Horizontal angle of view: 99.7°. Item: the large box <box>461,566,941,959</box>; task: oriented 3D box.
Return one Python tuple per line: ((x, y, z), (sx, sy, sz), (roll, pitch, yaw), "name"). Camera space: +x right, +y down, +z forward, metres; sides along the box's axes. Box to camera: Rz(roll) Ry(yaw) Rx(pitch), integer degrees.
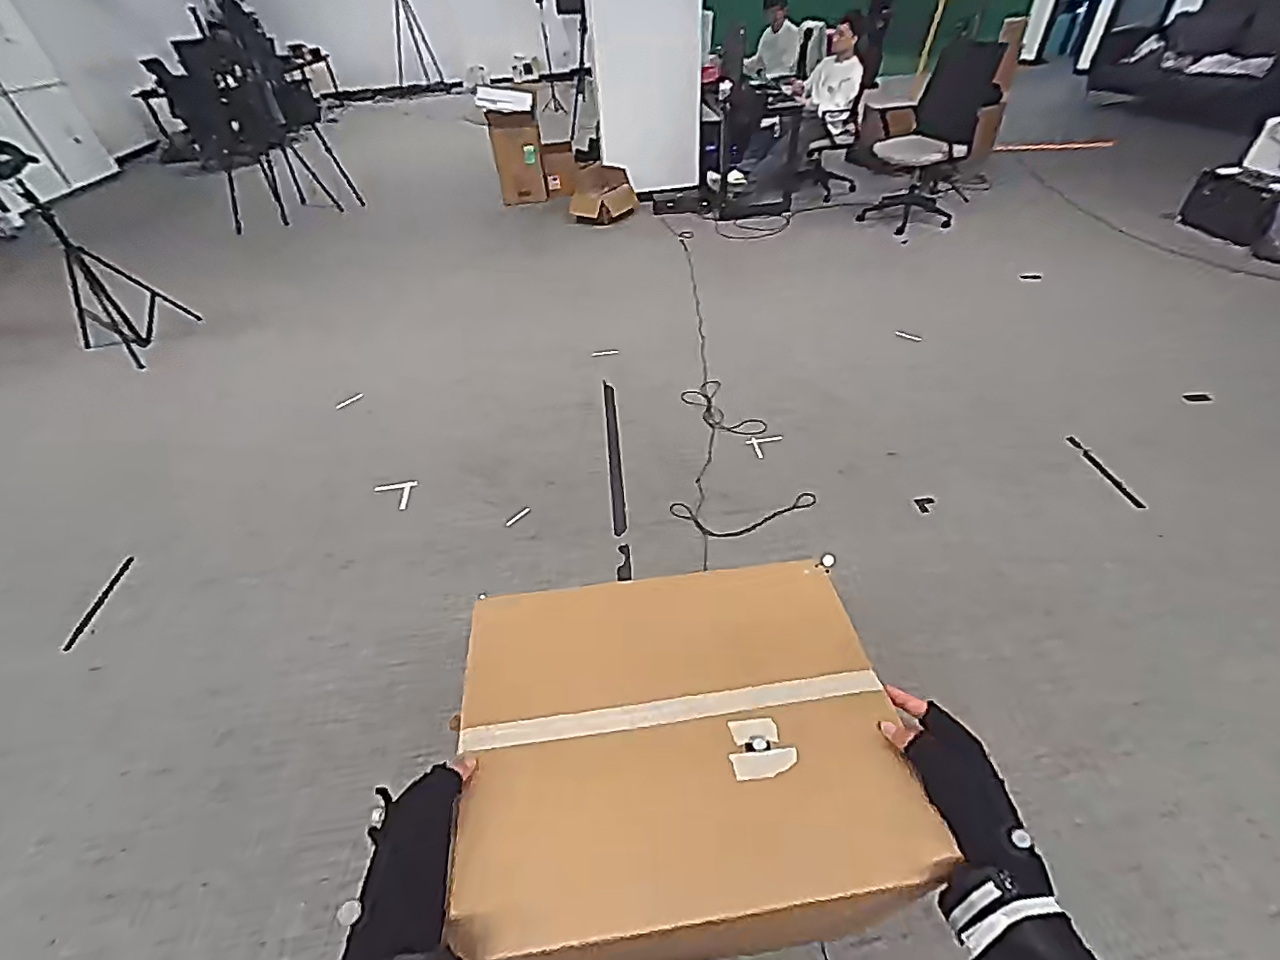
((0.036, 0.339, 0.635), (0.408, 0.320, 0.320), (-6, 44, -6), "large box")
